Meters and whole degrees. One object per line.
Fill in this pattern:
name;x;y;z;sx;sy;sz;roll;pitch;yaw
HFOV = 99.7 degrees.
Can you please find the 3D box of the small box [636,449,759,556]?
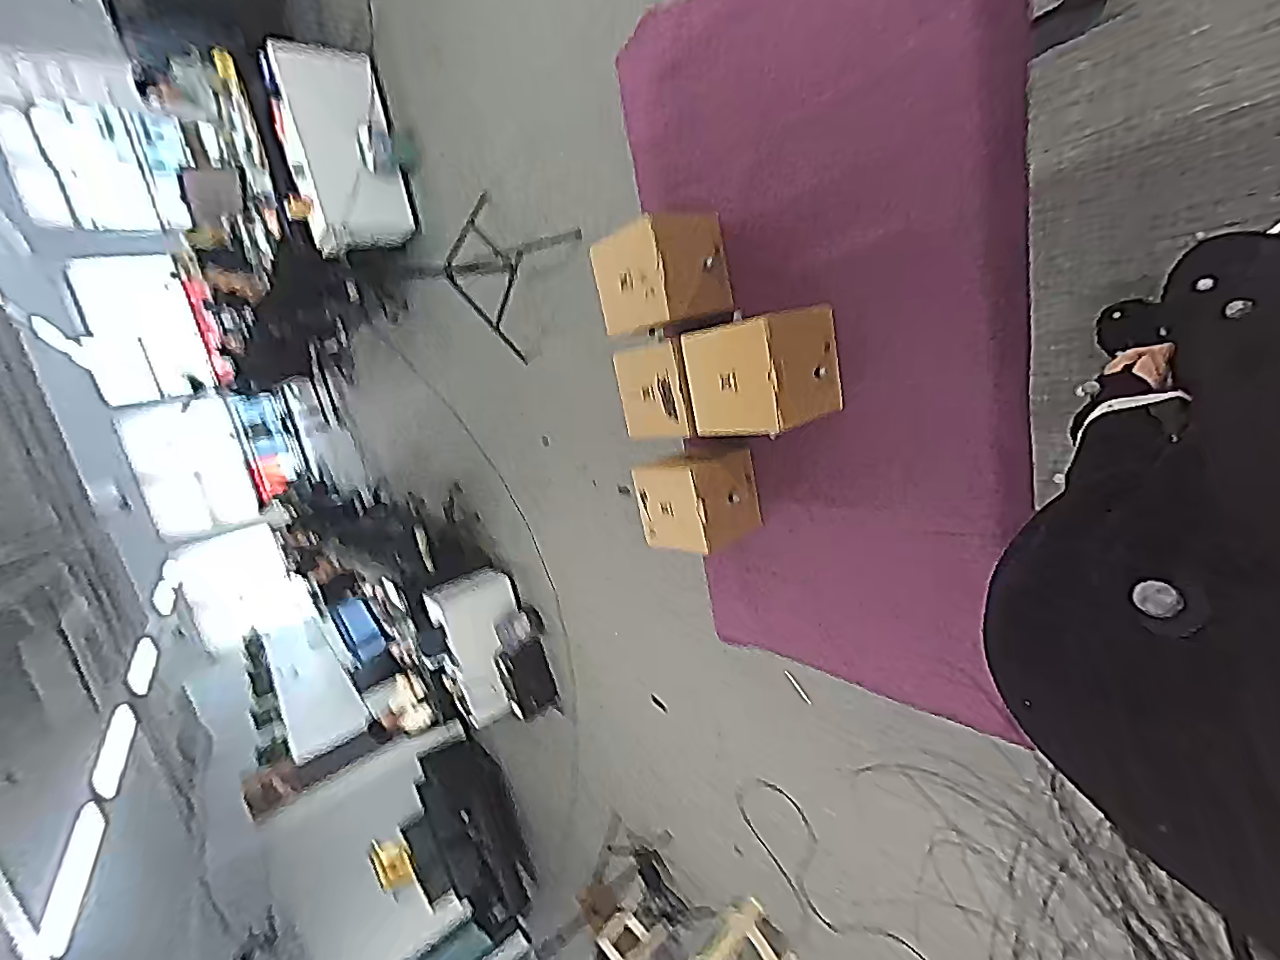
small box;0.123;0.037;1.086;0.179;0.176;0.168;2;108;50
